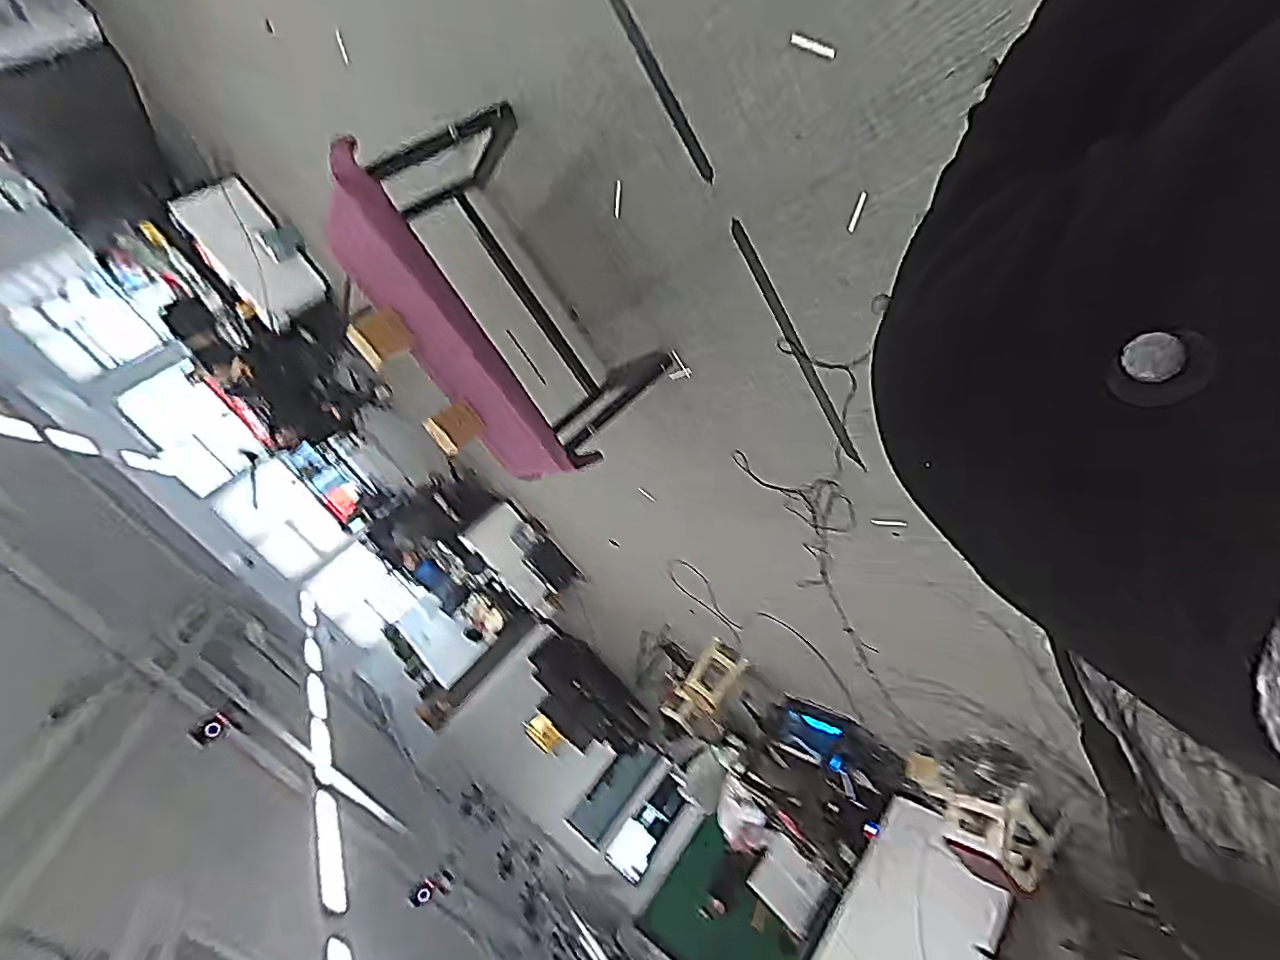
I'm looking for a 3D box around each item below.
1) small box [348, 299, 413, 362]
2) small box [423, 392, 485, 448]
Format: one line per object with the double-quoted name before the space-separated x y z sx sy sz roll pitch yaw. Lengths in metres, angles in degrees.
"small box" -1.050 -0.605 2.192 0.179 0.176 0.168 -4 127 56
"small box" -0.798 -0.261 2.328 0.179 0.176 0.168 -6 124 56
